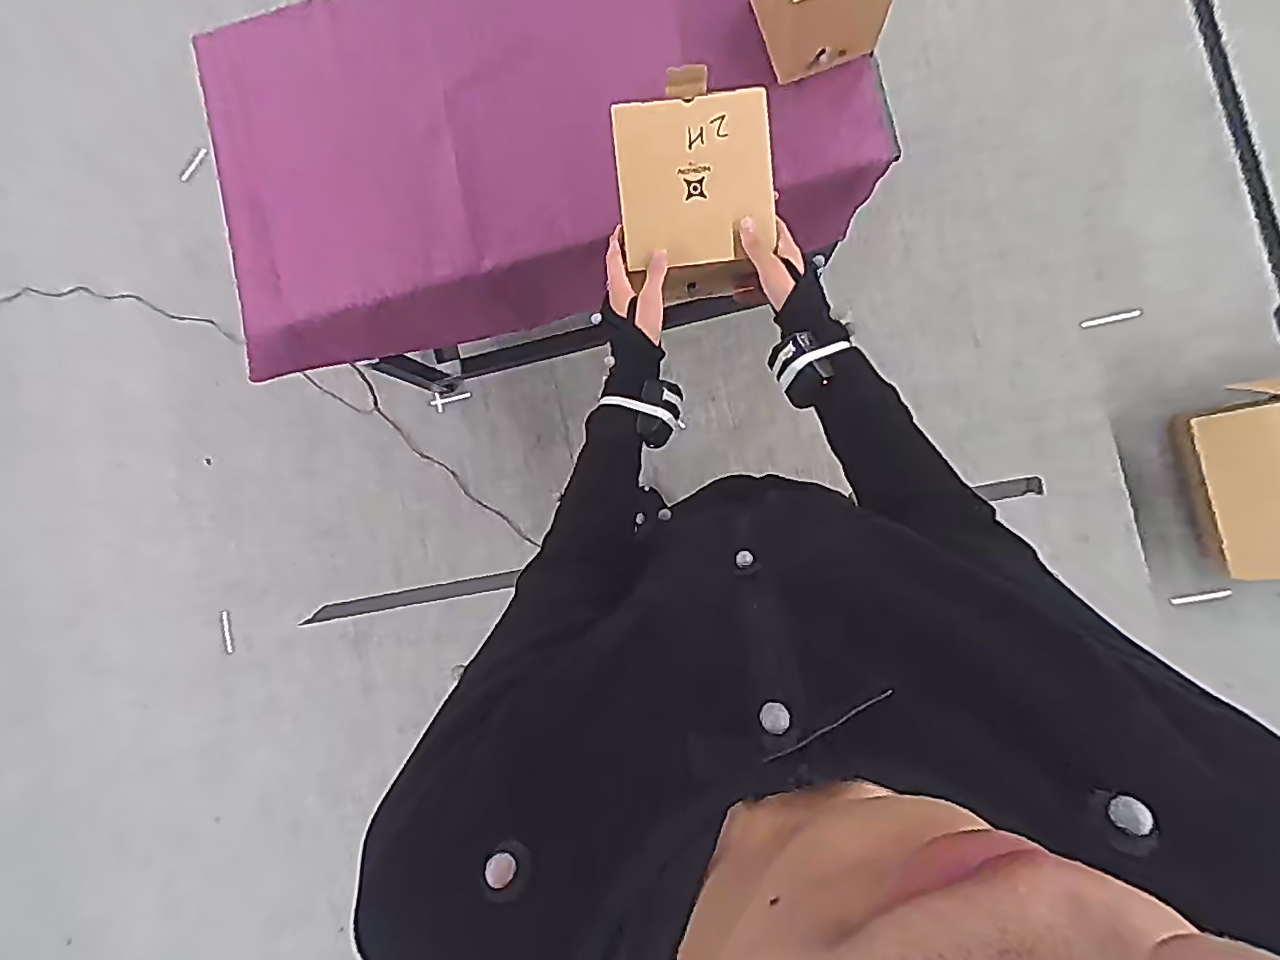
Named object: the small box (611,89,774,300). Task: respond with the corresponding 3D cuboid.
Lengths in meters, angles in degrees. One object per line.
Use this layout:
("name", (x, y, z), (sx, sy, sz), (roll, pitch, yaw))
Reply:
("small box", (0.058, -0.325, 0.654), (0.168, 0.176, 0.179), (-6, 95, 1))

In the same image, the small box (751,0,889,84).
("small box", (0.275, -0.771, 0.831), (0.168, 0.176, 0.179), (-17, 86, 8))
